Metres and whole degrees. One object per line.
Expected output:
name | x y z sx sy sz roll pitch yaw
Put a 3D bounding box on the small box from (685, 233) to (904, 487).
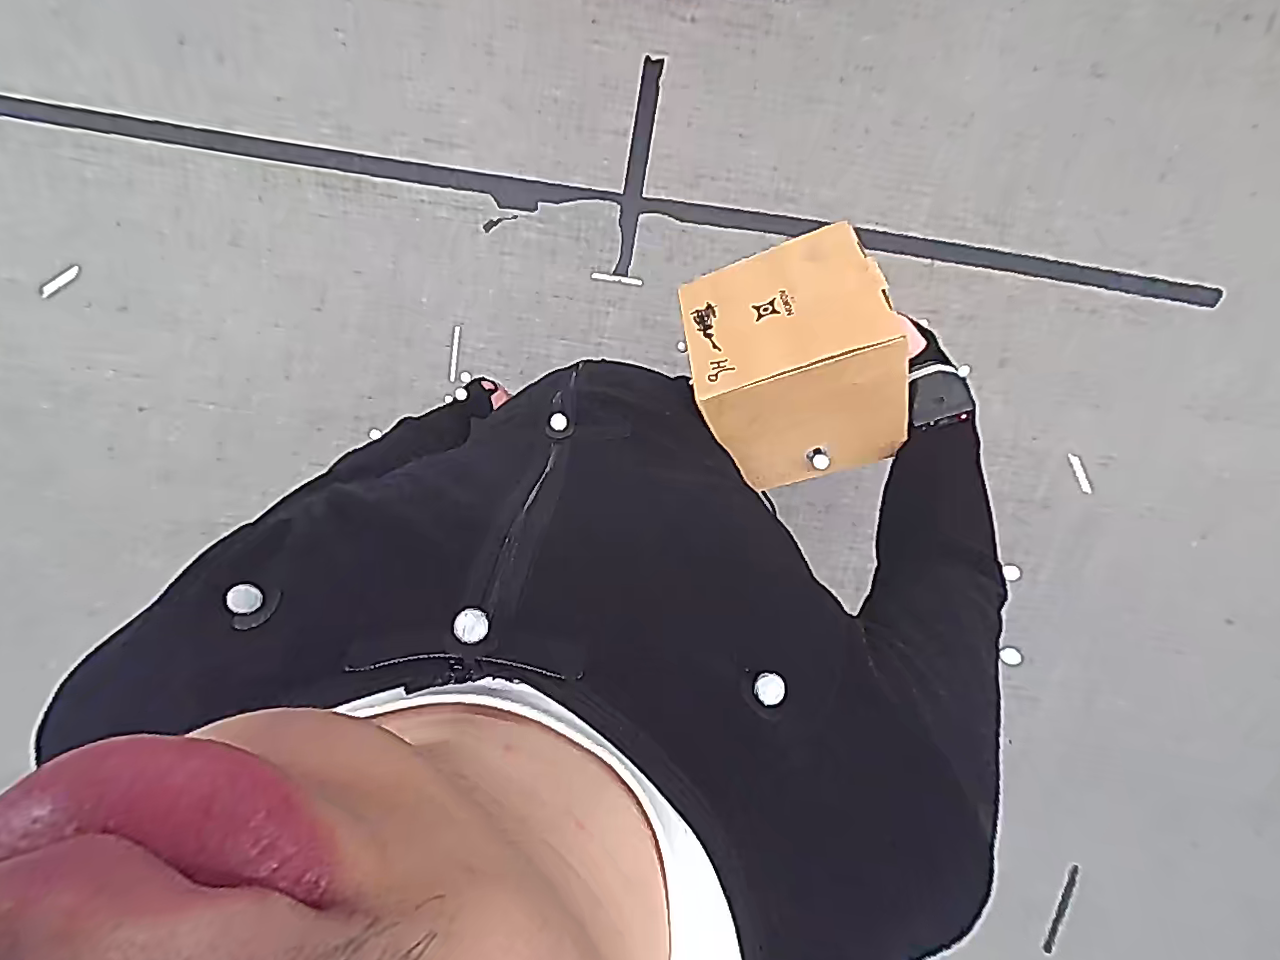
small box | 0.162 -0.116 0.574 0.179 0.168 0.176 -16 142 16
